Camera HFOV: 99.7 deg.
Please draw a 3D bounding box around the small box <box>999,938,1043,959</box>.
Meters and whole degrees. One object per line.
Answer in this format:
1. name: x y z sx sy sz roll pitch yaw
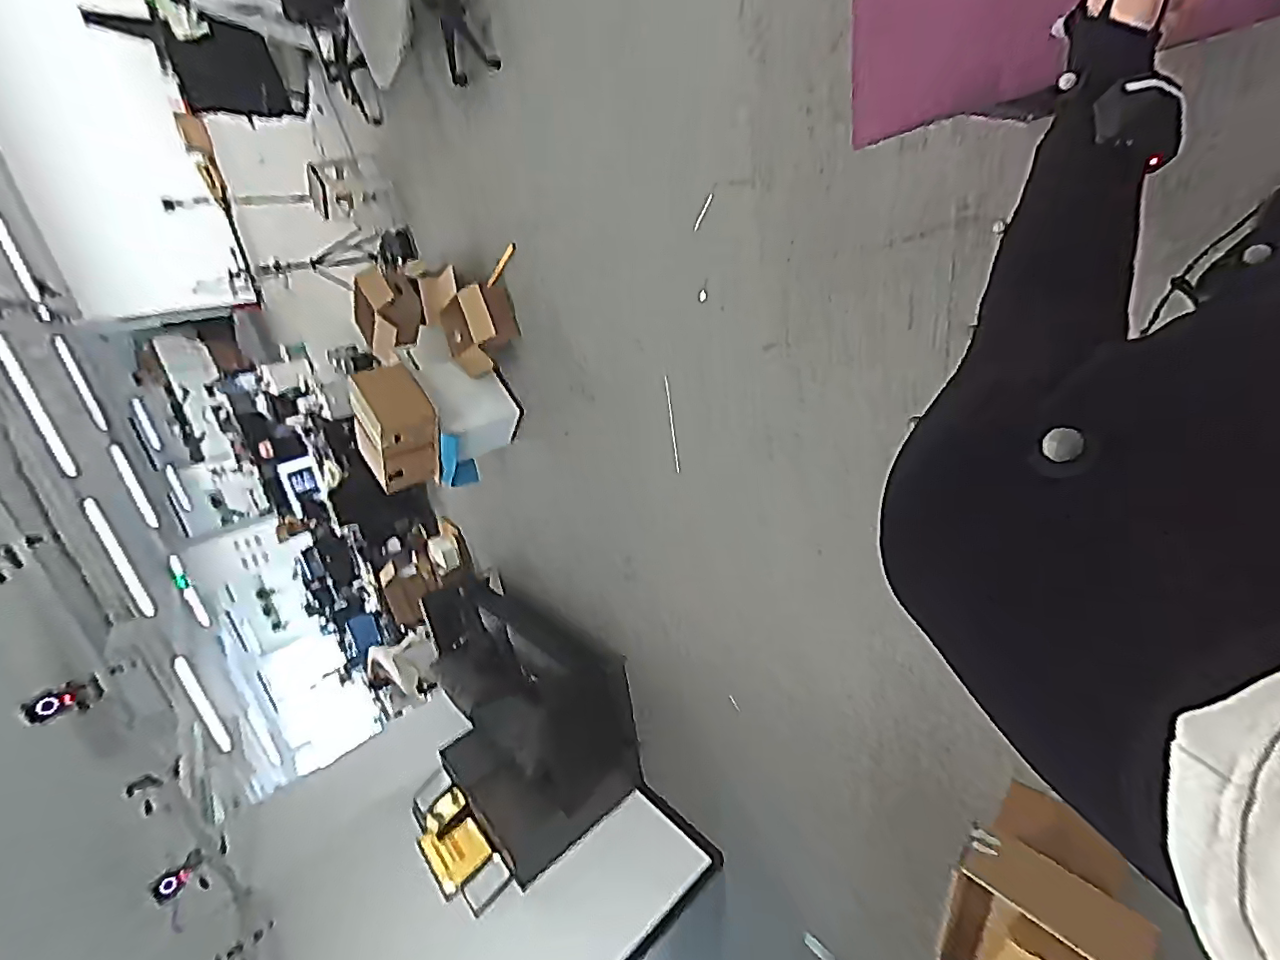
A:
1. small box: 1.063 1.429 1.478 0.168 0.176 0.179 18 122 45
